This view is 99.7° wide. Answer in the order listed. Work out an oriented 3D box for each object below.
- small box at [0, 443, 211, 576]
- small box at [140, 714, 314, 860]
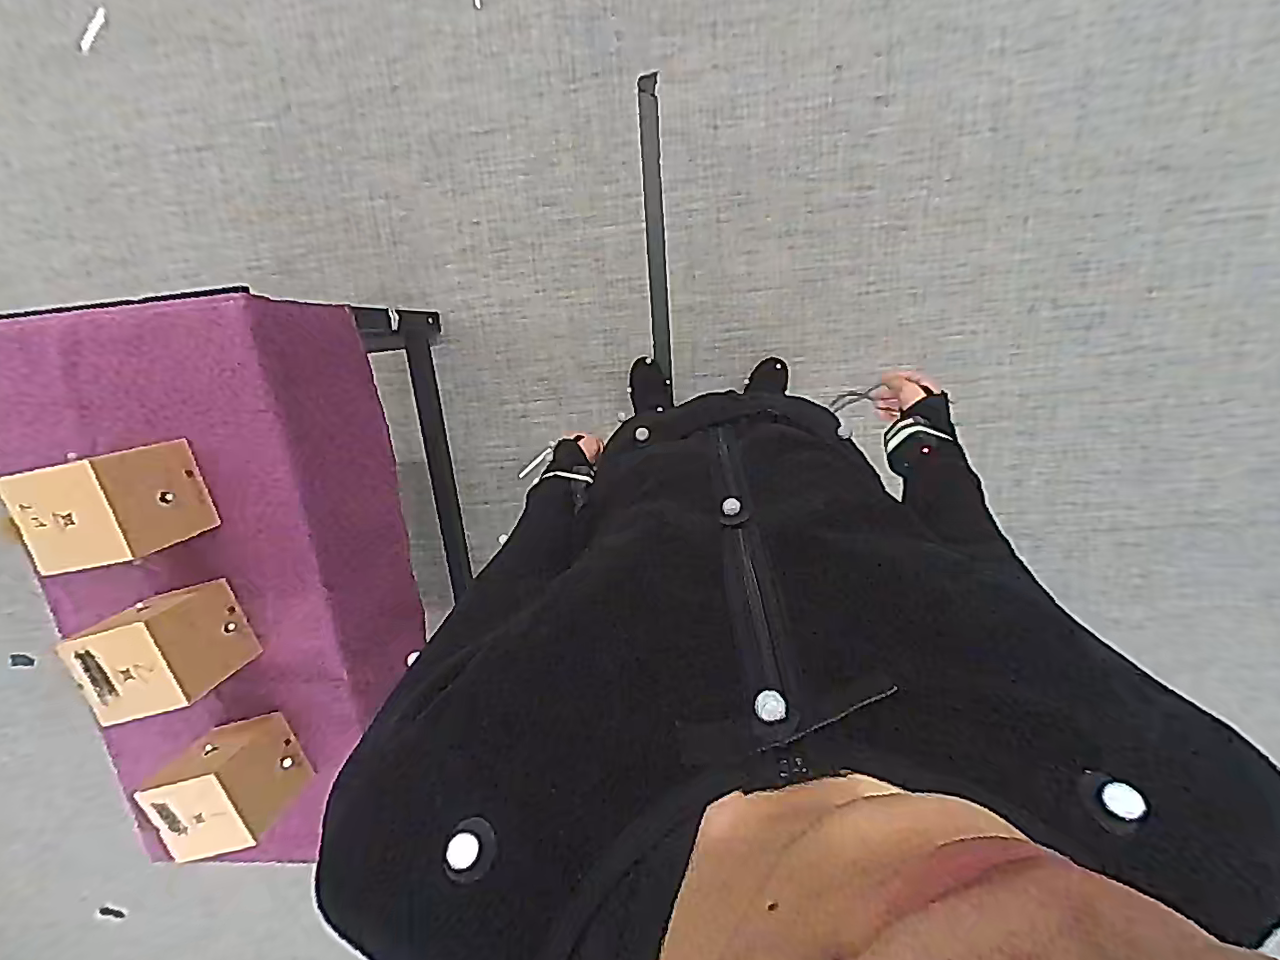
[{"bbox_3d":[-0.878,0.042,0.912,0.179,0.176,0.168,-9,104,8],"label":"small box"},{"bbox_3d":[-0.791,0.591,1.055,0.179,0.176,0.168,-17,103,9],"label":"small box"}]
